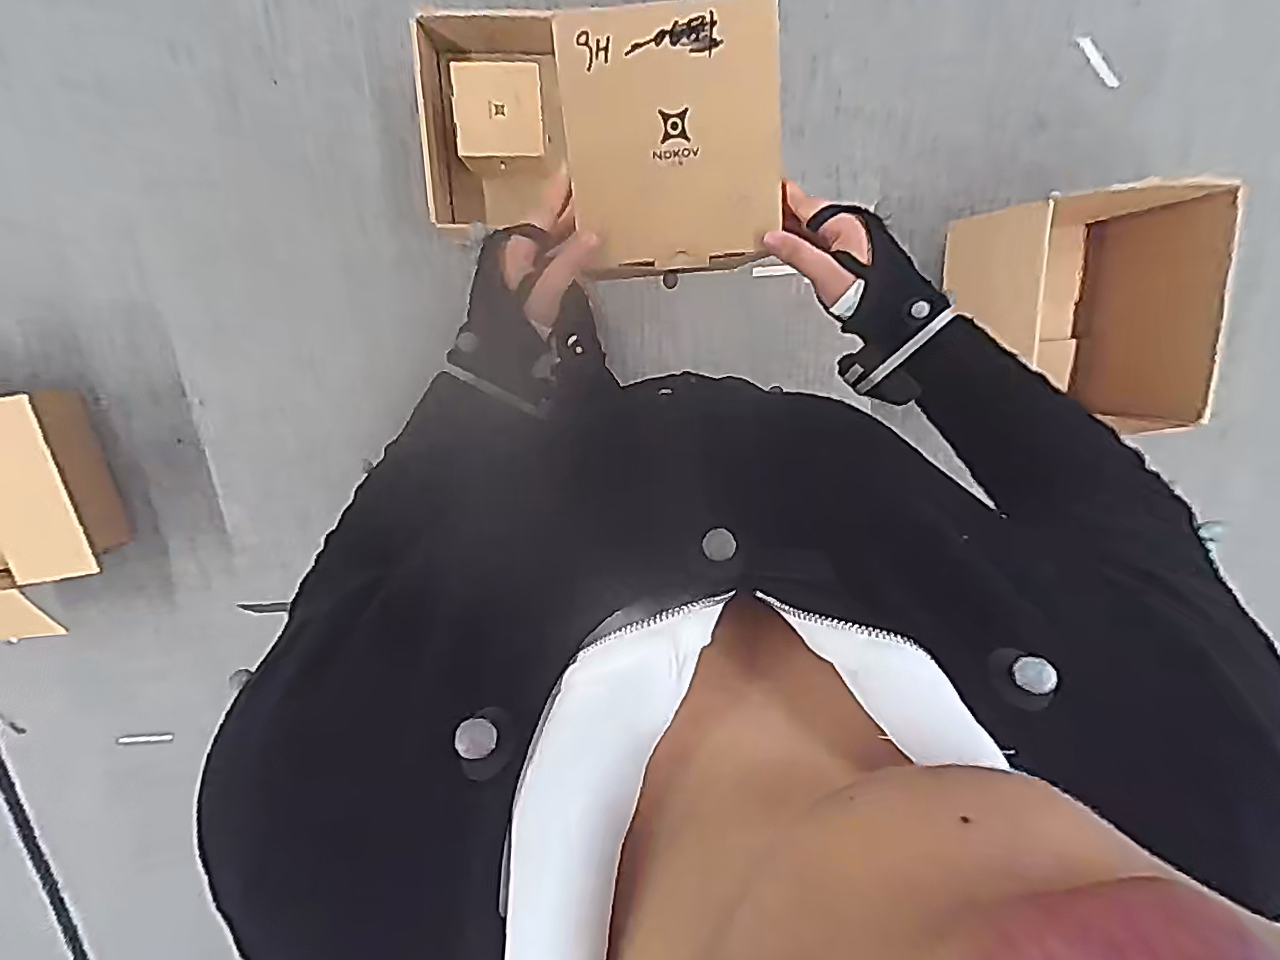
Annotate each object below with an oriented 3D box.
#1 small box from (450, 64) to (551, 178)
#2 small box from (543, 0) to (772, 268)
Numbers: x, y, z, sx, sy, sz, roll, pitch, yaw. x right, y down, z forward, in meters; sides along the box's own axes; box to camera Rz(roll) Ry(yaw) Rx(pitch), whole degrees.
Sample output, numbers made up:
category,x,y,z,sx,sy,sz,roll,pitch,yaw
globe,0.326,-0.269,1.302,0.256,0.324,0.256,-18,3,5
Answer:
category,x,y,z,sx,sy,sz,roll,pitch,yaw
small box,-0.290,-0.758,1.159,0.179,0.176,0.168,-3,107,-4
small box,0.016,-0.289,0.484,0.168,0.176,0.179,-6,108,-1
